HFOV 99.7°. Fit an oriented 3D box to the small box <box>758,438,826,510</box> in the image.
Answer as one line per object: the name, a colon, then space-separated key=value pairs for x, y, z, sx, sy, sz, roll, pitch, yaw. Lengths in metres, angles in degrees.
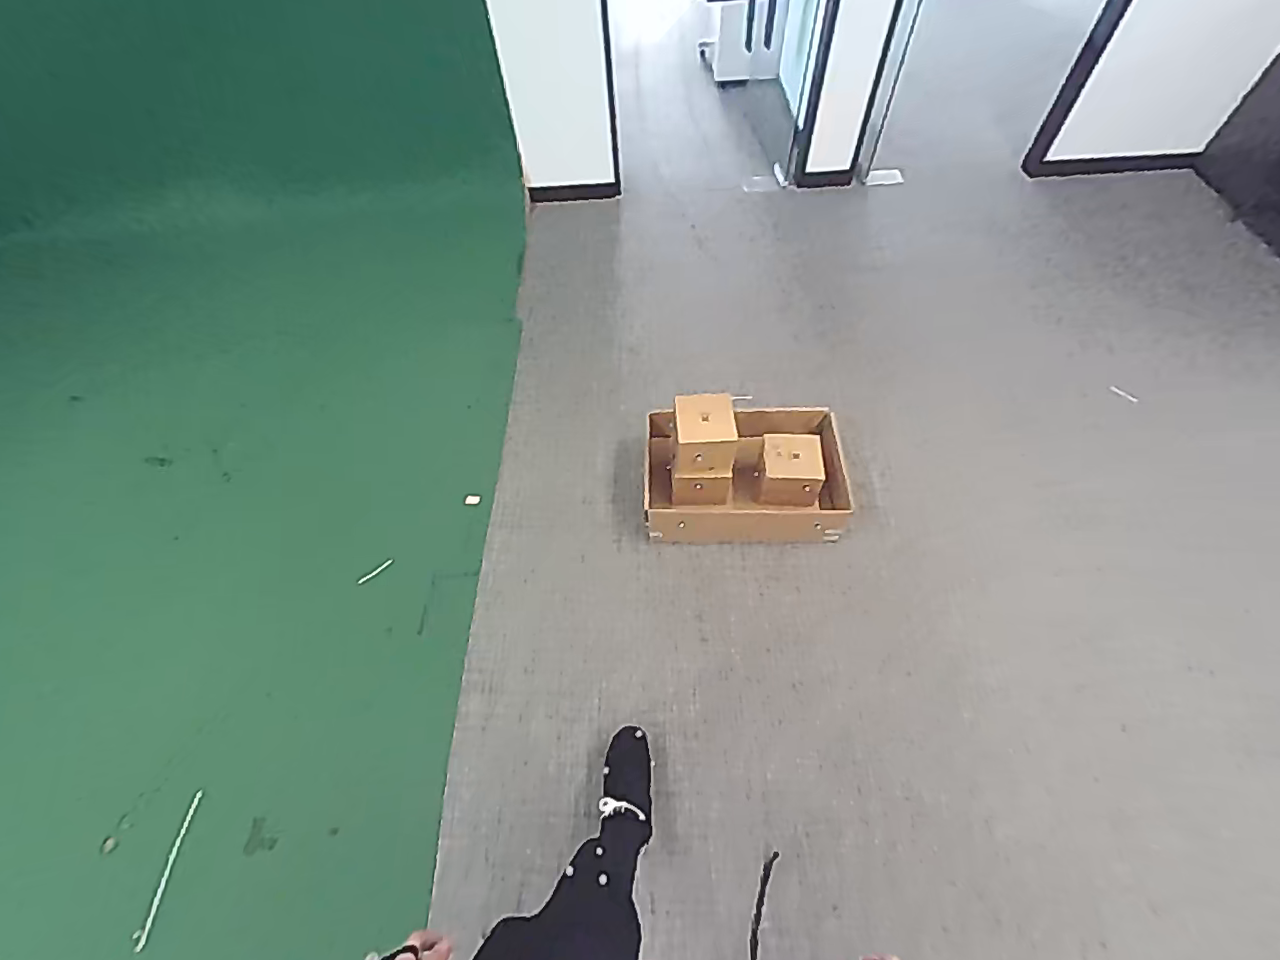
small box: x=0.475 y=-0.017 z=1.708 sx=0.179 sy=0.176 sz=0.168 roll=2 pitch=57 yaw=6

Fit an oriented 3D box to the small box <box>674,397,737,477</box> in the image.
small box: x=0.190 y=-0.120 z=1.599 sx=0.168 sy=0.176 sz=0.179 roll=-3 pitch=56 yaw=0
